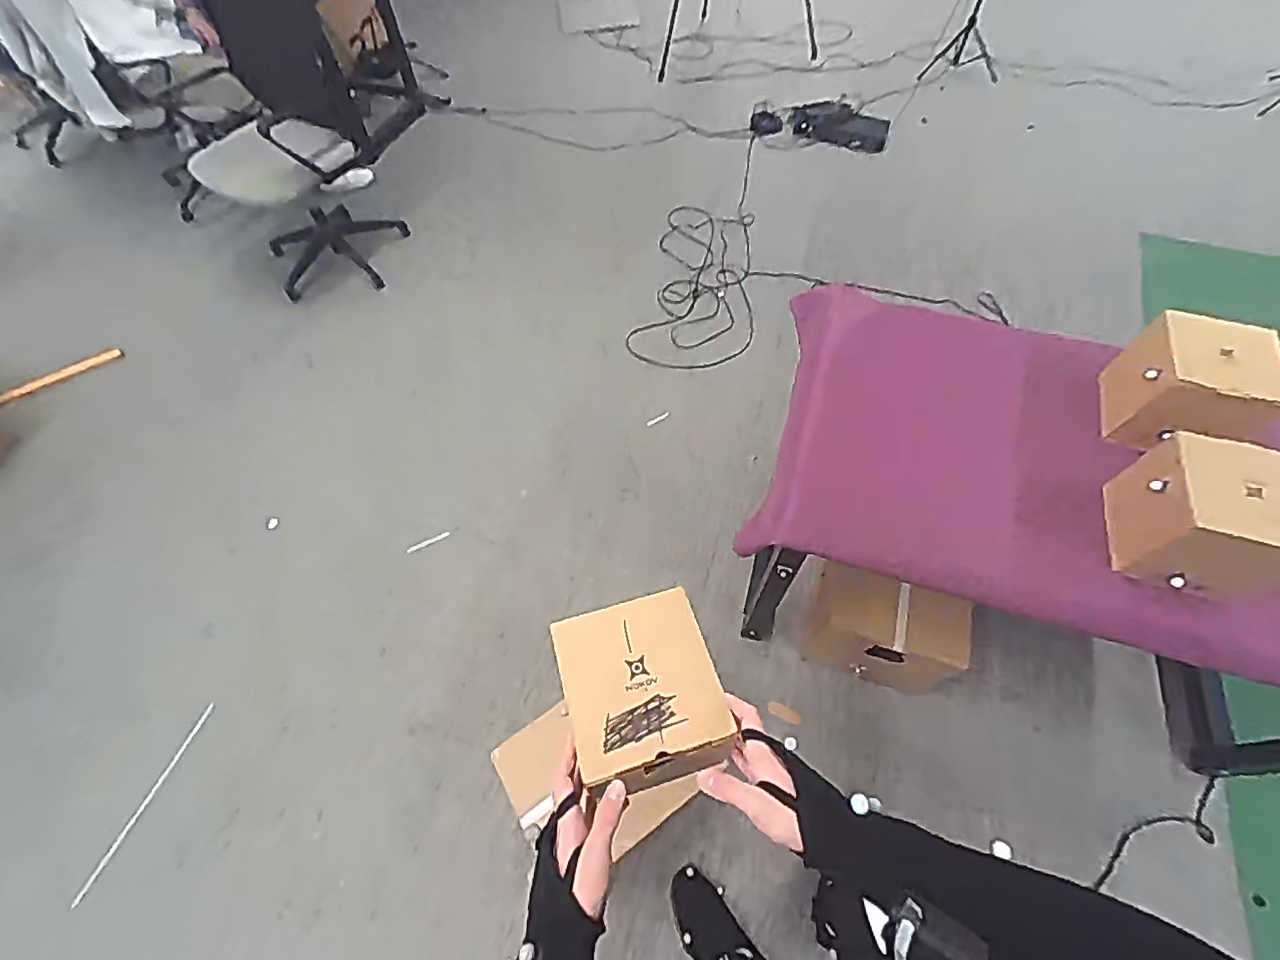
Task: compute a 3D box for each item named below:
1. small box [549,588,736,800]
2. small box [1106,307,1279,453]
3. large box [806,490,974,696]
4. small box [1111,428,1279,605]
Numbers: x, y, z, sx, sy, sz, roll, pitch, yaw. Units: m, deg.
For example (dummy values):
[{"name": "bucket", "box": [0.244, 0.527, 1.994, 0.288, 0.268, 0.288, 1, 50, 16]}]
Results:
[{"name": "small box", "box": [0.000, 0.258, 0.639, 0.168, 0.176, 0.179, -14, 54, -9]}, {"name": "small box", "box": [0.949, -0.160, 0.931, 0.168, 0.176, 0.179, 17, 62, 13]}, {"name": "large box", "box": [0.652, 0.302, 1.437, 0.320, 0.320, 0.408, 15, 59, 11]}, {"name": "small box", "box": [0.844, 0.057, 0.799, 0.168, 0.176, 0.179, 16, 60, 13]}]
